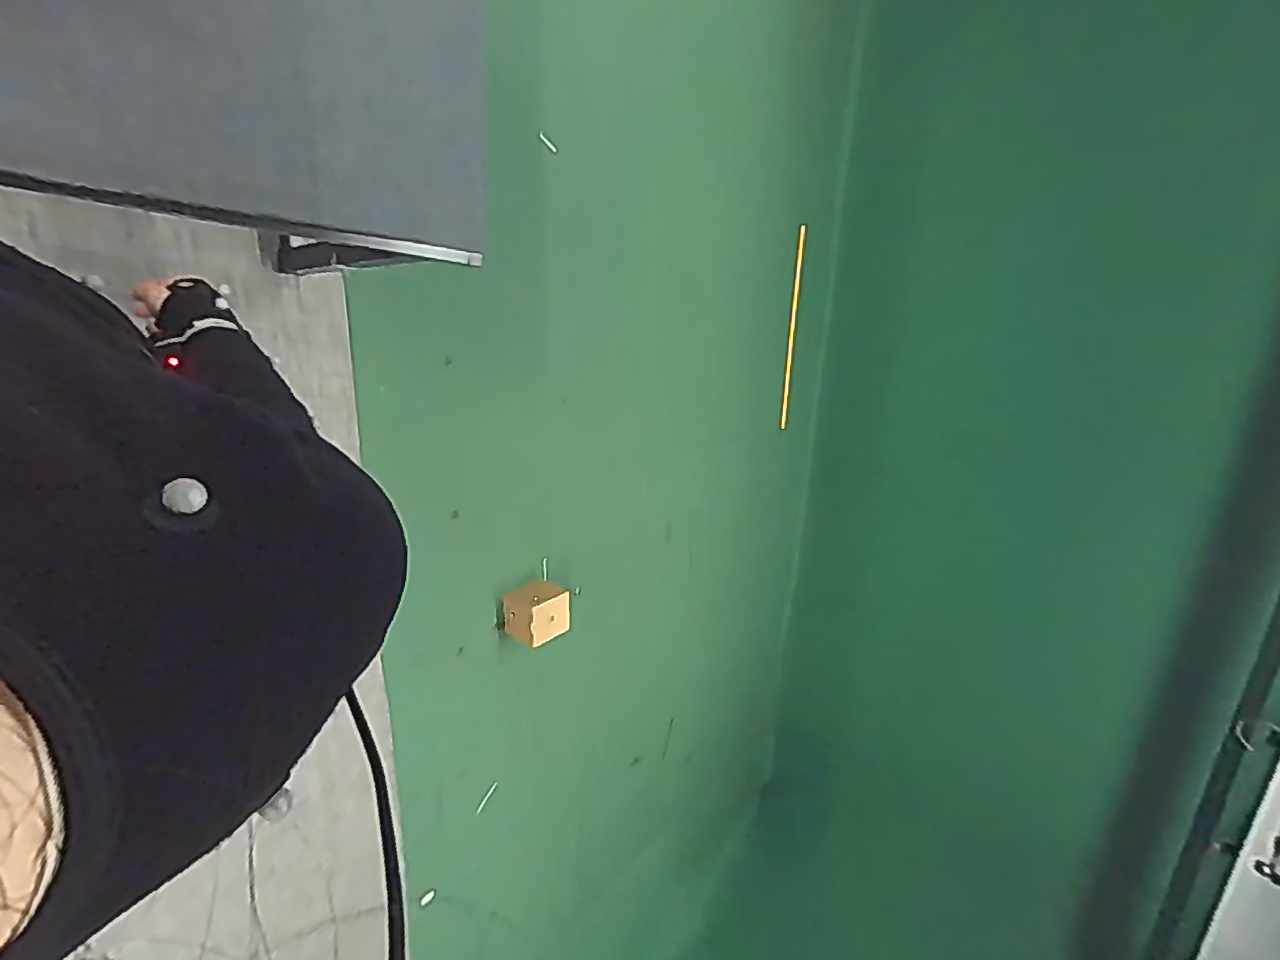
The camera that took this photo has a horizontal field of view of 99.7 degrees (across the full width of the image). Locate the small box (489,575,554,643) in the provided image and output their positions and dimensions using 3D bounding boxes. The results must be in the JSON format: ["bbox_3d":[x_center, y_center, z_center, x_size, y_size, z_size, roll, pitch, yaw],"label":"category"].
[{"bbox_3d":[-0.445,0.475,2.030,0.179,0.176,0.168,-17,115,-48],"label":"small box"}]
